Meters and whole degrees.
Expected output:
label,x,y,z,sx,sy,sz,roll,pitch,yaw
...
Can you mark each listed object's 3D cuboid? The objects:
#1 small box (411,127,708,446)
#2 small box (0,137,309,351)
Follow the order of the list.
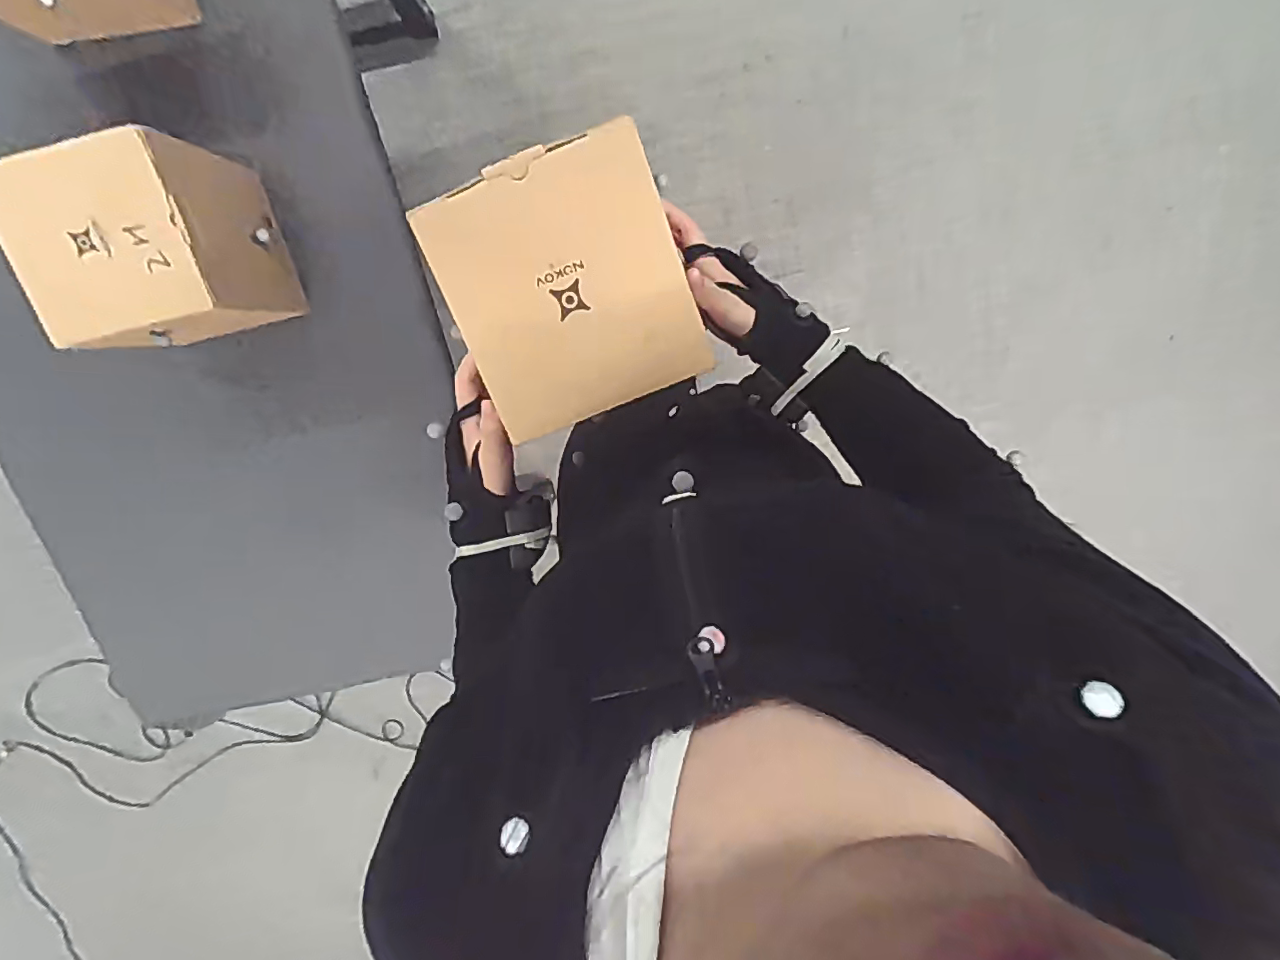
label,x,y,z,sx,sy,sz,roll,pitch,yaw
small box,-0.052,-0.151,0.461,0.168,0.176,0.179,-21,104,5
small box,-0.518,-0.243,0.598,0.179,0.176,0.168,-13,106,2
